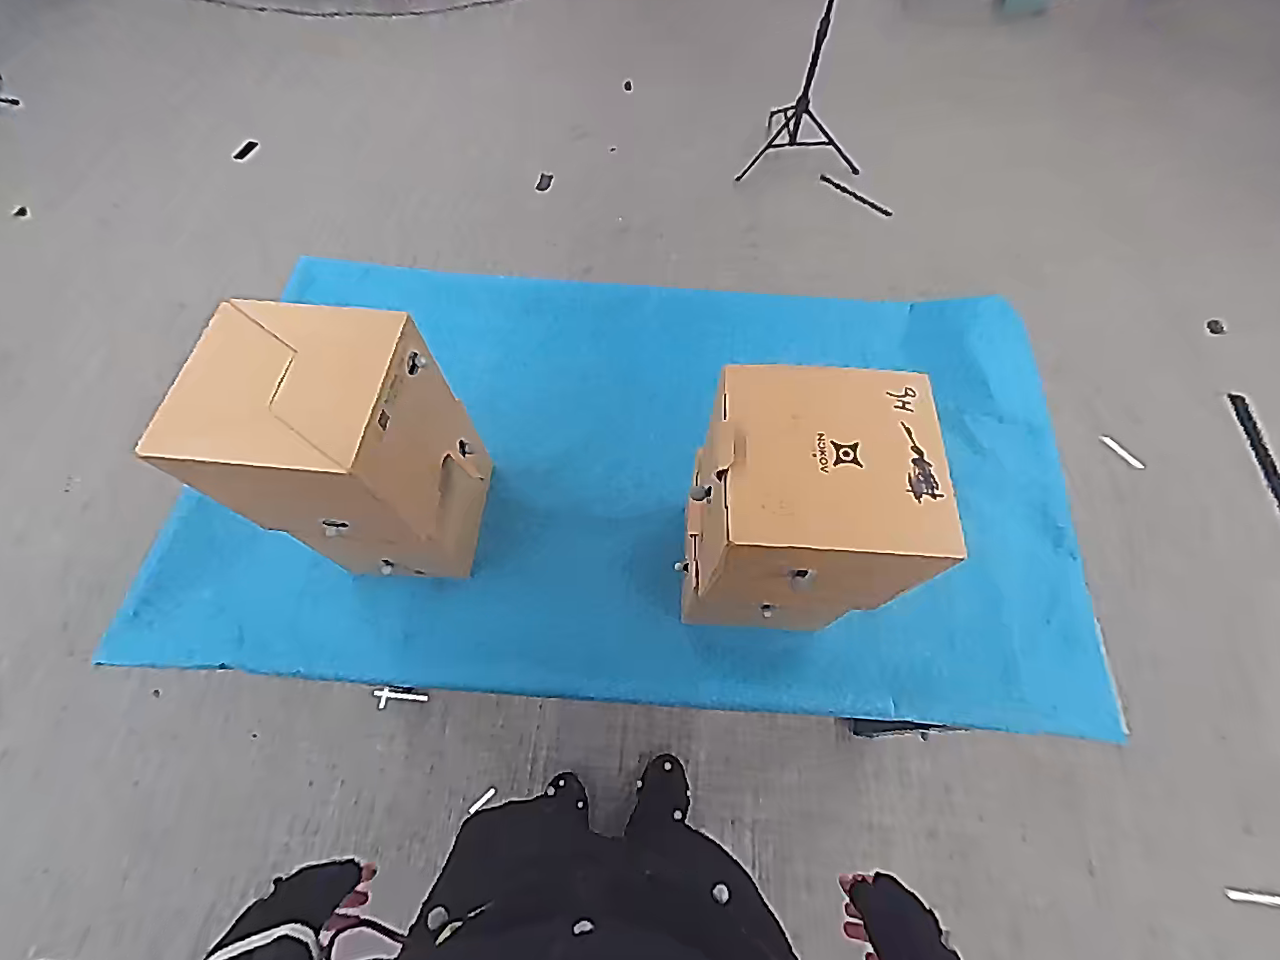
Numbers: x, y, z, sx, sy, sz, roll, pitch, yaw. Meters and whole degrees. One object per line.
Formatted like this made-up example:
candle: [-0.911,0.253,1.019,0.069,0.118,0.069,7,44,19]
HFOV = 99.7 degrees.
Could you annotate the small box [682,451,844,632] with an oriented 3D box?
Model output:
small box: [0.143,0.080,0.645,0.179,0.176,0.168,4,64,3]

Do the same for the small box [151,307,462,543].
small box: [-0.300,-0.047,0.527,0.179,0.176,0.168,5,64,3]

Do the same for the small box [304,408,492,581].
small box: [-0.300,0.015,0.683,0.168,0.176,0.179,6,66,5]

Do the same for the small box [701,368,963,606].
small box: [0.149,0.015,0.496,0.179,0.176,0.168,1,64,0]
